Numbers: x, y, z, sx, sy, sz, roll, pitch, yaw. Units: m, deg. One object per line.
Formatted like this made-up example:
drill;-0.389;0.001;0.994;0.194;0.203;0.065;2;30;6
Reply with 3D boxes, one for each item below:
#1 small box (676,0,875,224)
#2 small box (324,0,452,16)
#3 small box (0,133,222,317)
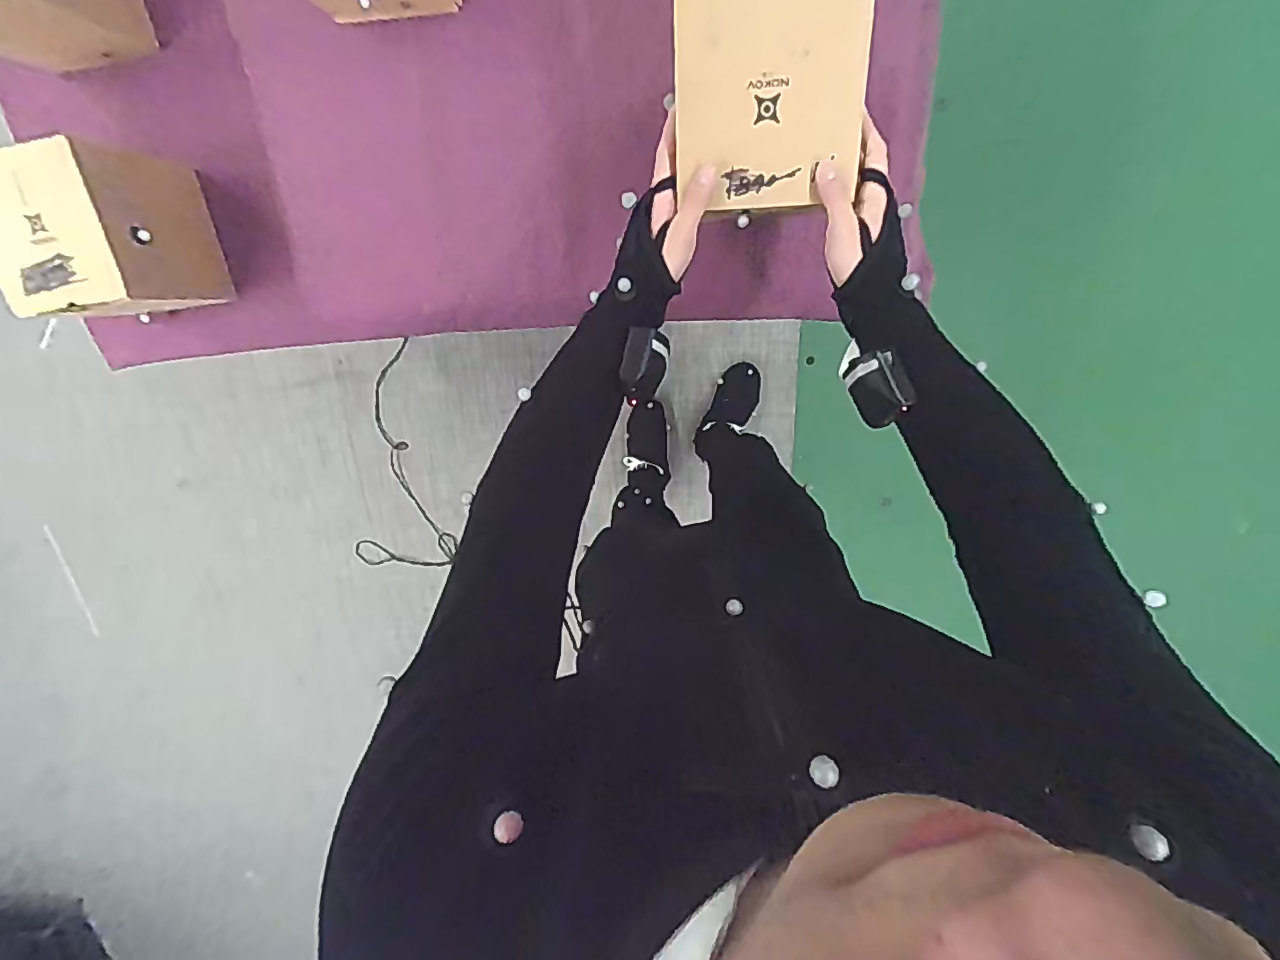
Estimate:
small box;0.120;-0.364;0.546;0.168;0.176;0.179;0;112;5
small box;-0.308;-0.620;0.550;0.168;0.176;0.179;-1;111;5
small box;-0.690;-0.310;0.690;0.168;0.176;0.179;-6;108;6
